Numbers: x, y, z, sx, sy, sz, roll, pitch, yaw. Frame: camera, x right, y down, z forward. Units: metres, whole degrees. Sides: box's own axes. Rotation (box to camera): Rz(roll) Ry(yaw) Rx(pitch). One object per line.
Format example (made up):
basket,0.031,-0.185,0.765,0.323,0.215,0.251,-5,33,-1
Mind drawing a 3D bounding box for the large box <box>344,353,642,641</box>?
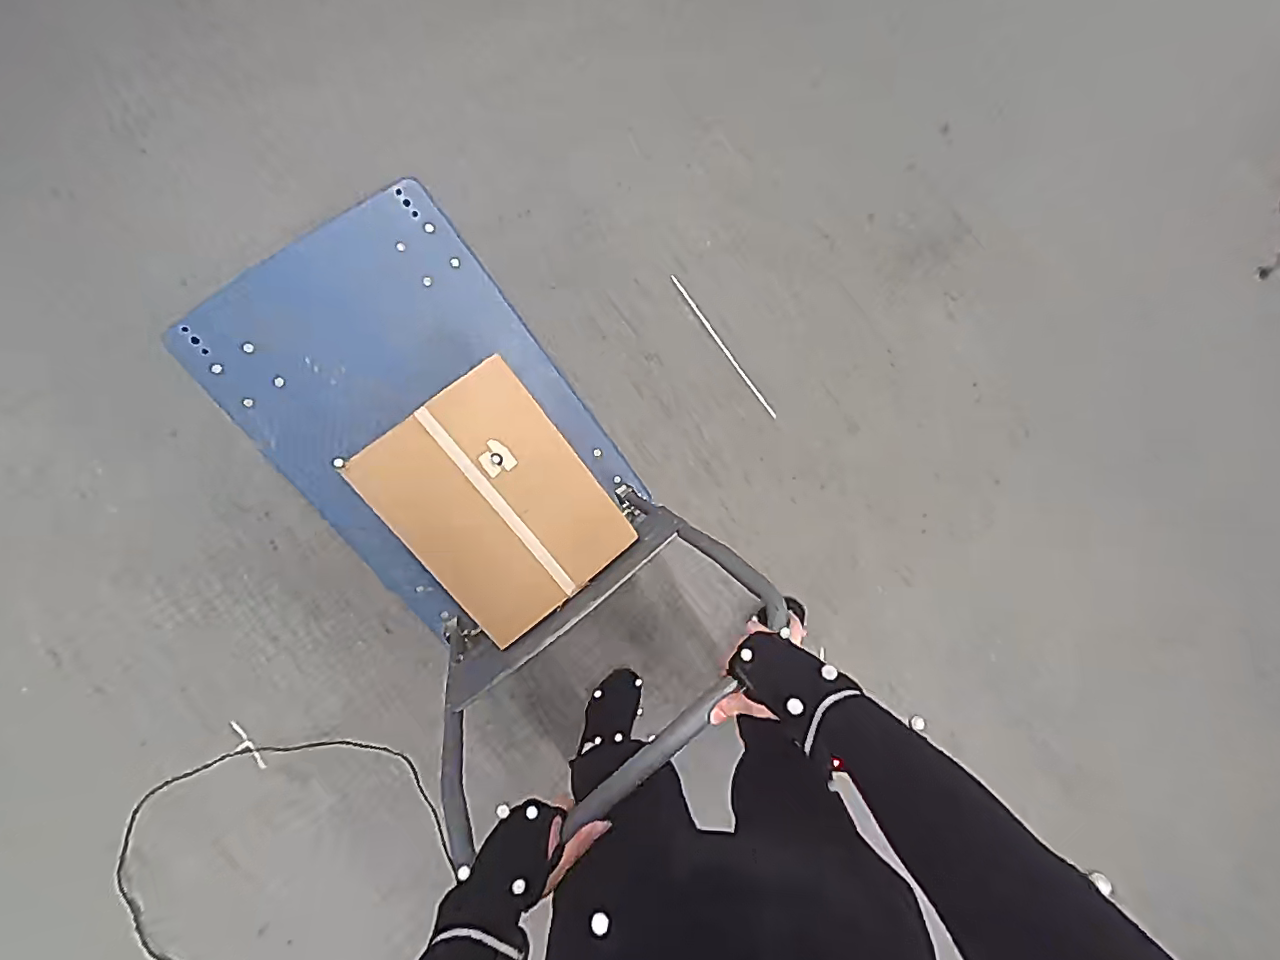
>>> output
large box,-0.263,0.022,1.048,0.320,0.320,0.408,-40,103,-8
